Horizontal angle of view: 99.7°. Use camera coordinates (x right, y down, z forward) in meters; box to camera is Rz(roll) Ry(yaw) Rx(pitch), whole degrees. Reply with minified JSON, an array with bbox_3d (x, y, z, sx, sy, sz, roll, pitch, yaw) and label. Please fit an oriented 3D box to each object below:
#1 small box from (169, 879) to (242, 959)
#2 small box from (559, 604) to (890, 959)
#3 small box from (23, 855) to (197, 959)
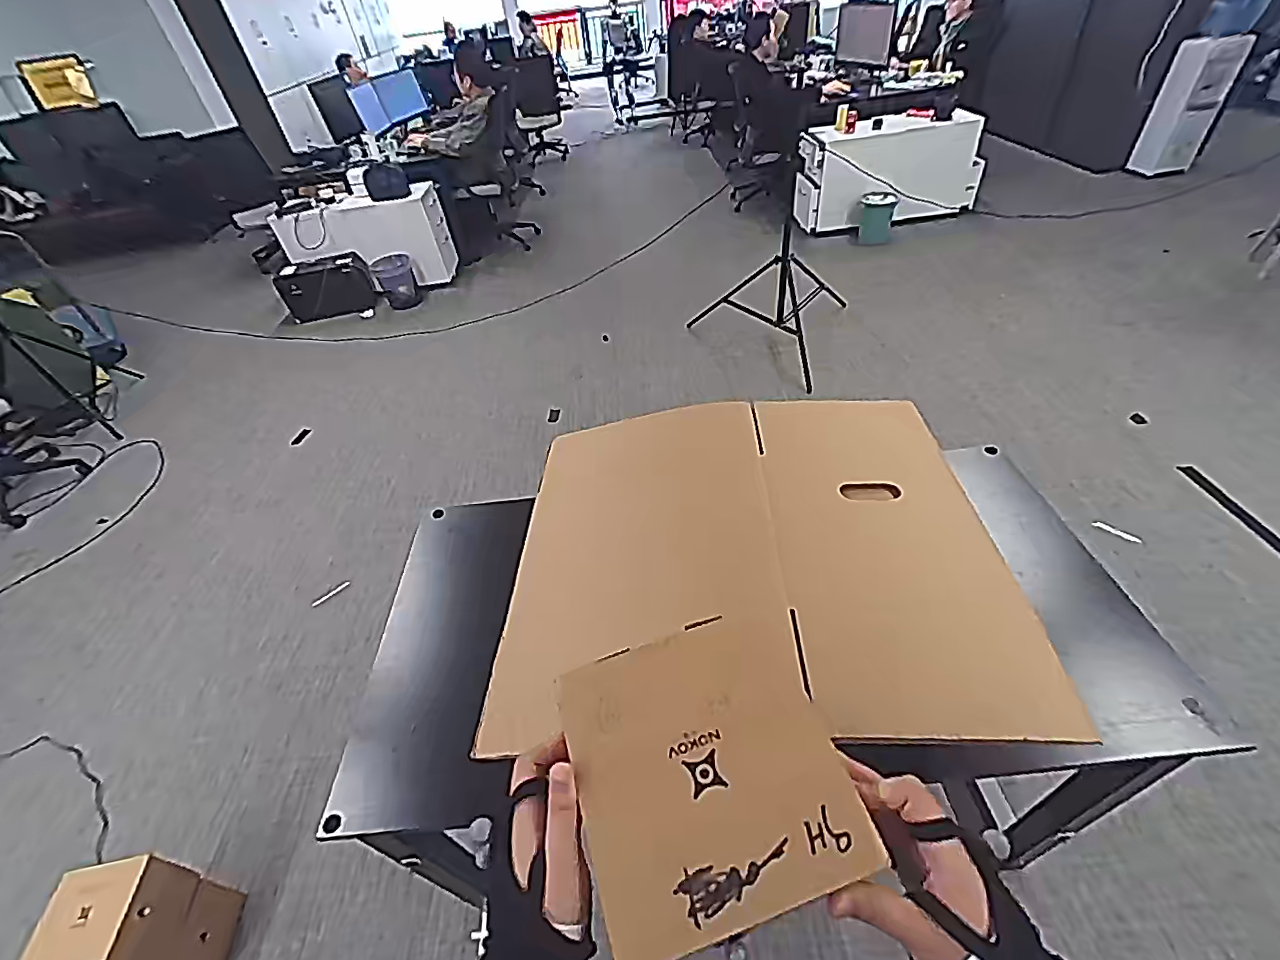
[{"bbox_3d":[-1.024,1.010,1.184,0.168,0.176,0.179,-9,44,-1],"label":"small box"},{"bbox_3d":[0.051,0.229,0.411,0.168,0.176,0.179,-19,51,-5],"label":"small box"},{"bbox_3d":[-1.044,0.888,1.079,0.168,0.176,0.179,-11,42,-4],"label":"small box"}]
